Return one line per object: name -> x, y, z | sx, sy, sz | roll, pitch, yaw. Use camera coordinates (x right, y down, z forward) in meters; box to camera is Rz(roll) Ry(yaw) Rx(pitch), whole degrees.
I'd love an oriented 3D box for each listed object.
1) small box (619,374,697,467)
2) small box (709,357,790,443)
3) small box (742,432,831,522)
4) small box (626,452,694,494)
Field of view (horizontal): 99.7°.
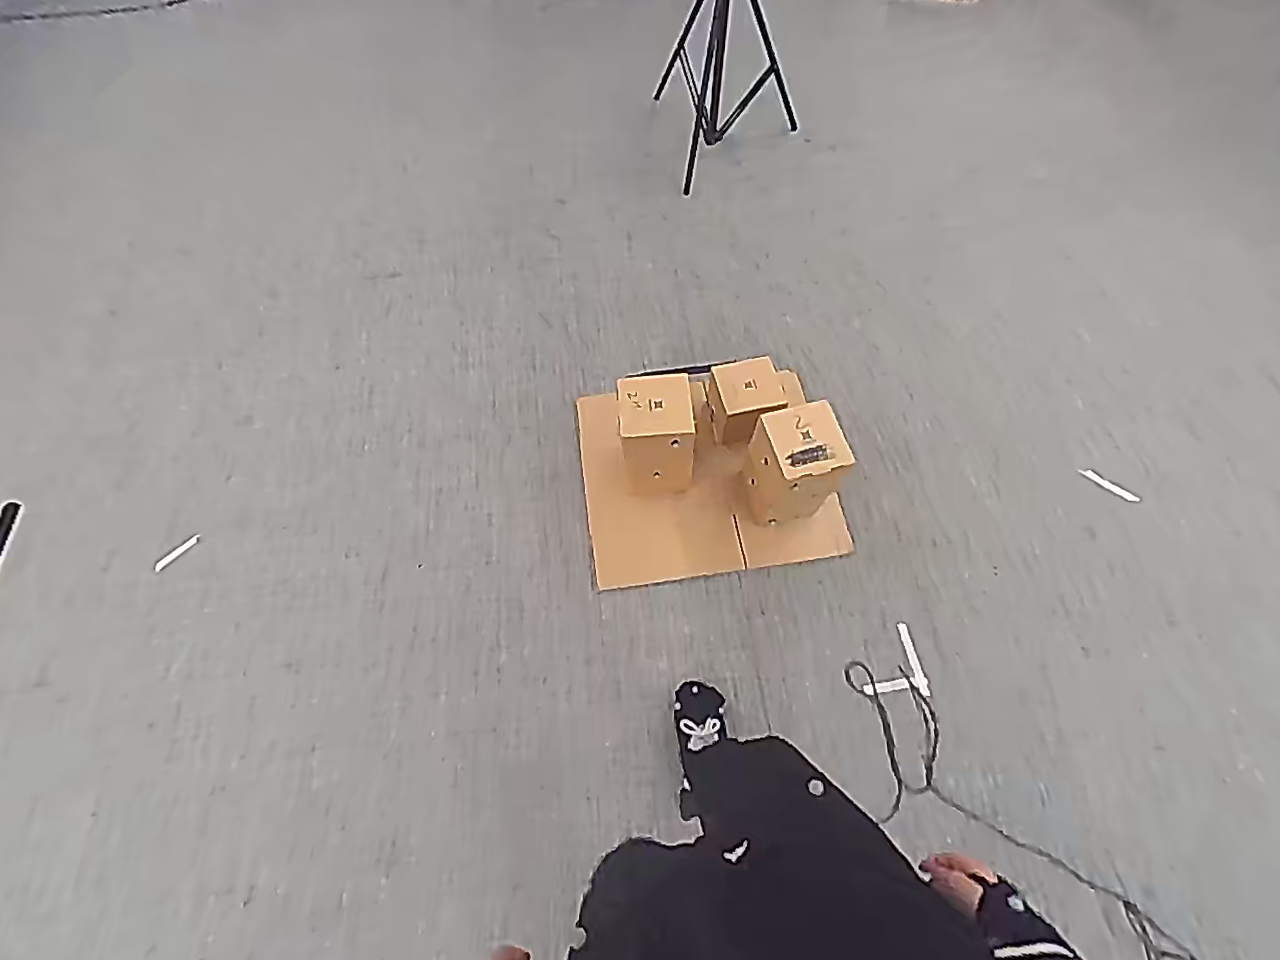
small box -> 0.041, -0.142, 1.333 | 0.179, 0.176, 0.168 | -4, 65, 1
small box -> 0.305, -0.225, 1.547 | 0.179, 0.176, 0.168 | -12, 65, -3
small box -> 0.382, 0.001, 1.440 | 0.168, 0.176, 0.179 | -12, 65, -4
small box -> 0.049, -0.072, 1.482 | 0.179, 0.176, 0.168 | -5, 65, 0
